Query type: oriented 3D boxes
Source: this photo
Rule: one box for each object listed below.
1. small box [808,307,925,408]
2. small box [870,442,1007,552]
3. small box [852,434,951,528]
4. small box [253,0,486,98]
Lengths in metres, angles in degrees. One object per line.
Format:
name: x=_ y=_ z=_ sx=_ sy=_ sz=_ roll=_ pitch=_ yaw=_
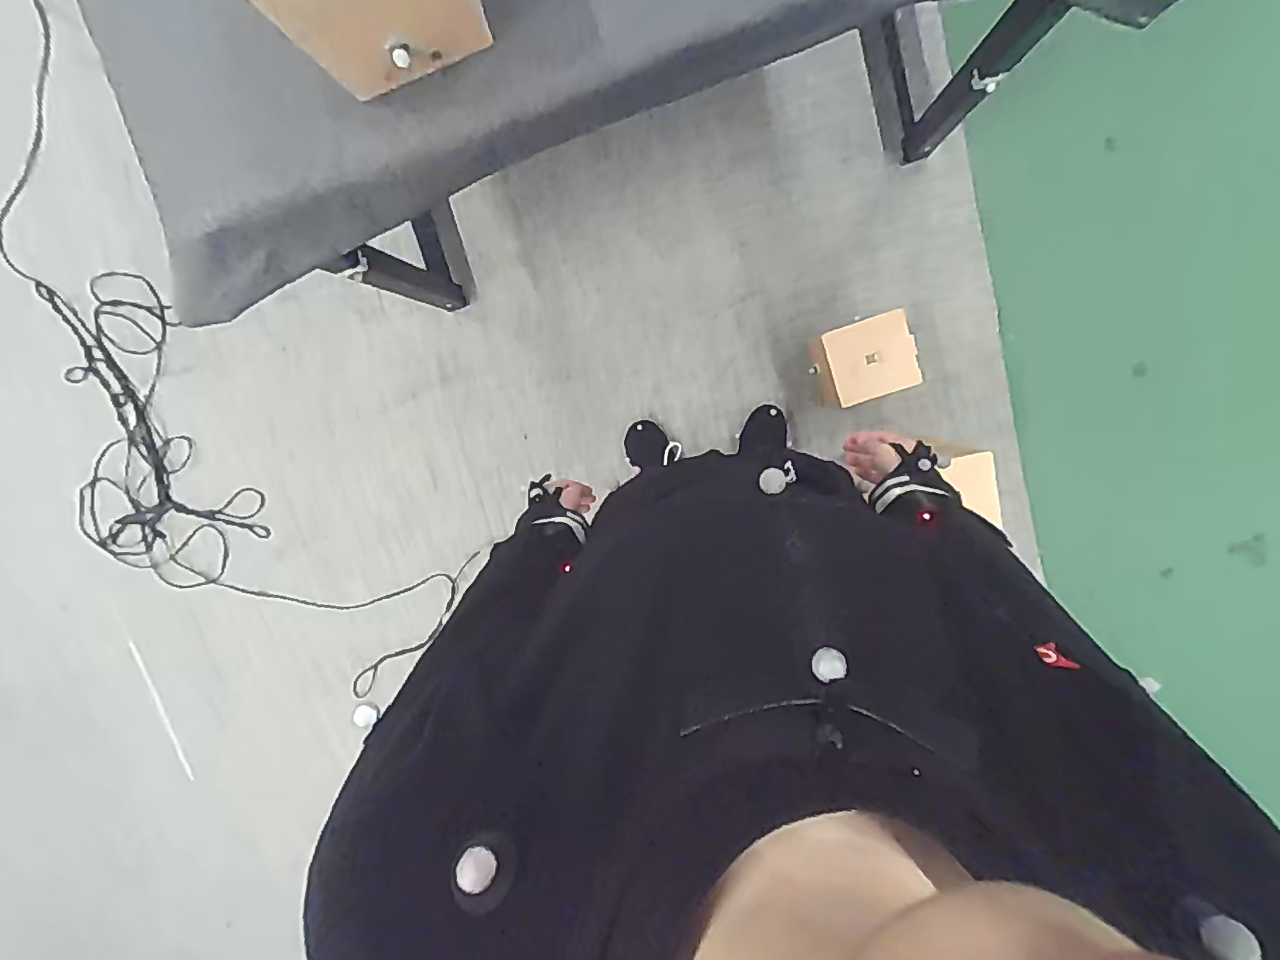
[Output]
small box: x=0.495 y=-0.267 z=1.205 sx=0.179 sy=0.176 sz=0.168 roll=-18 pitch=96 yaw=9
small box: x=0.584 y=0.026 z=1.075 sx=0.179 sy=0.176 sz=0.168 roll=-13 pitch=98 yaw=8
small box: x=0.598 y=-0.002 z=1.235 sx=0.179 sy=0.176 sz=0.168 roll=-14 pitch=98 yaw=9
small box: x=-0.269 y=-0.511 z=0.501 sx=0.168 sy=0.176 sz=0.179 roll=-17 pitch=97 yaw=8
